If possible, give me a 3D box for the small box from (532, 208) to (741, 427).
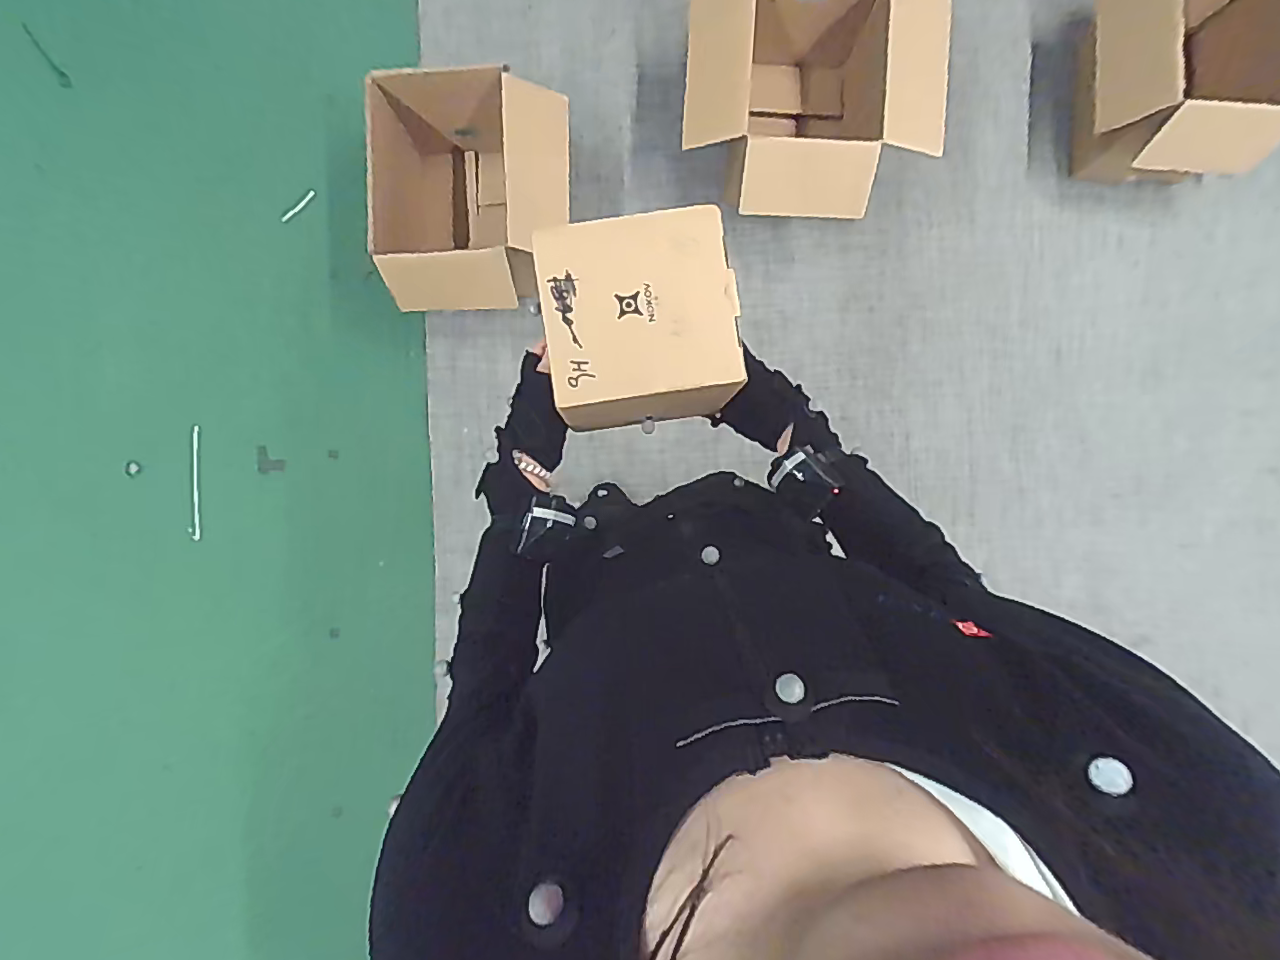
[{"bbox_3d":[-0.007,-0.156,0.570,0.179,0.176,0.168,-8,87,-2],"label":"small box"}]
